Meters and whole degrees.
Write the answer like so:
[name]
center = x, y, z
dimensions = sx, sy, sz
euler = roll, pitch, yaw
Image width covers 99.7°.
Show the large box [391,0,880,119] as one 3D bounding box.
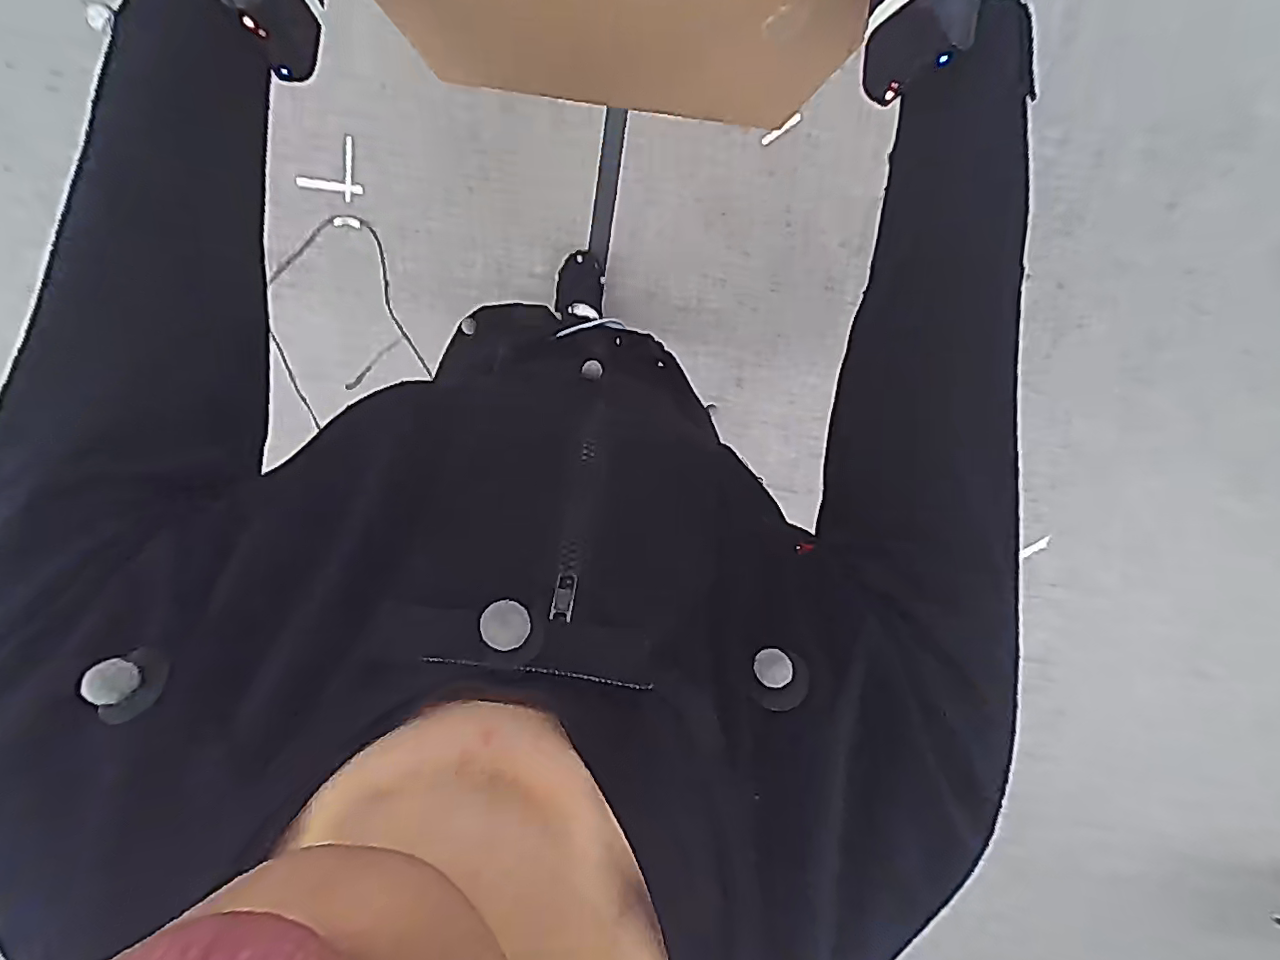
[large box]
center = -0.009, -0.544, 0.448
dimensions = 0.408, 0.320, 0.320
euler = 5, 109, -5
